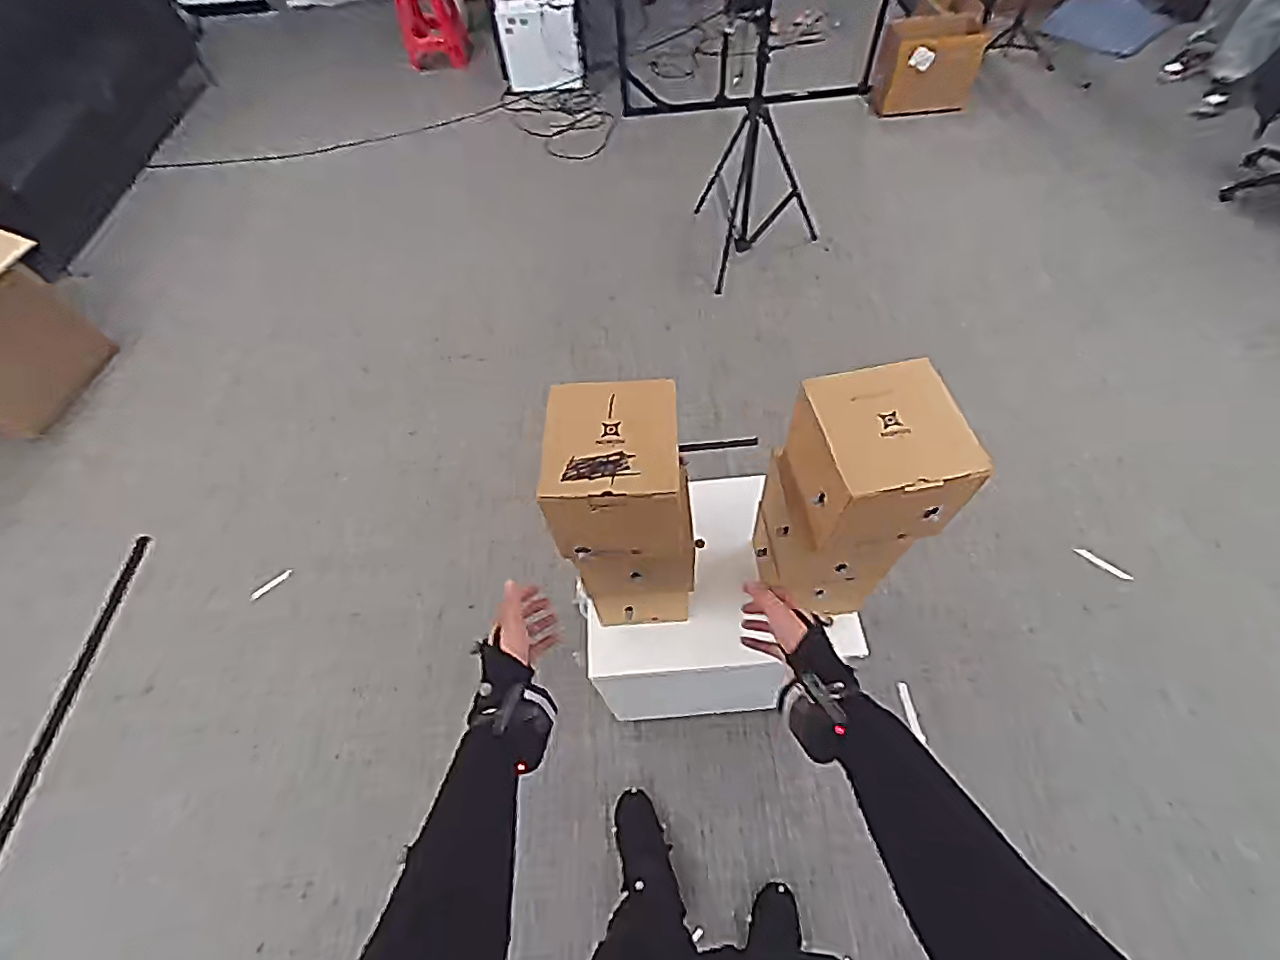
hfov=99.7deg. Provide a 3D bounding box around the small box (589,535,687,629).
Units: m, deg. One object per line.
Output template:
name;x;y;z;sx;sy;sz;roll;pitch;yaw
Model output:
small box;-0.002;0.167;0.996;0.168;0.176;0.179;-4;57;1

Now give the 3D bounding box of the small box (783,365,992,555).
small box;0.297;-0.016;0.697;0.168;0.176;0.179;-11;58;-2

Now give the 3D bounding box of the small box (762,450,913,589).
small box;0.294;0.061;0.842;0.168;0.176;0.179;-7;58;1

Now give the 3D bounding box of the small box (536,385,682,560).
small box;-0.030;-0.002;0.715;0.168;0.176;0.179;-2;57;3

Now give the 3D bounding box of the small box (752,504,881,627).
small box;0.306;0.149;0.981;0.168;0.176;0.179;-8;57;1
